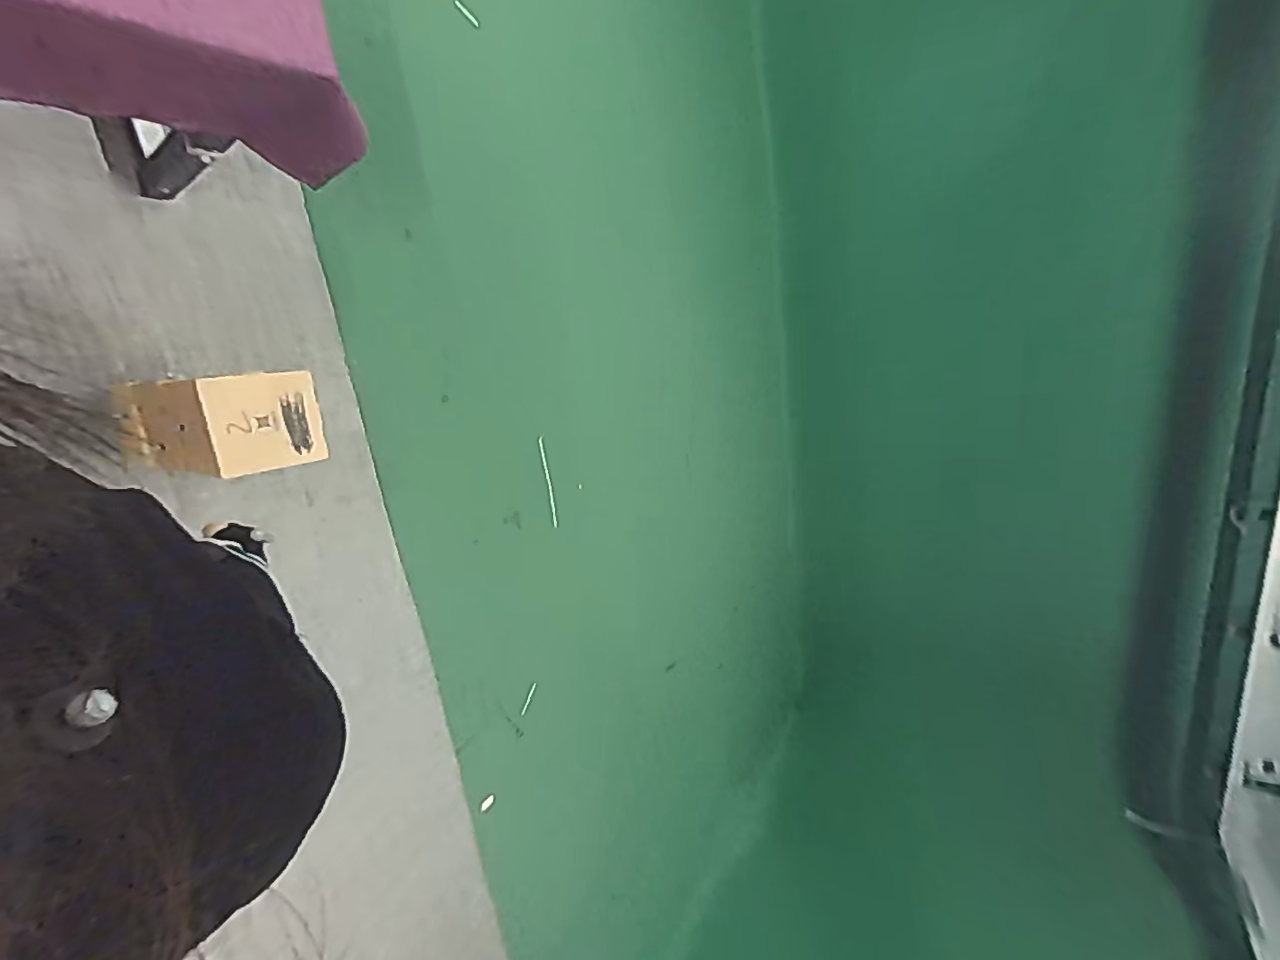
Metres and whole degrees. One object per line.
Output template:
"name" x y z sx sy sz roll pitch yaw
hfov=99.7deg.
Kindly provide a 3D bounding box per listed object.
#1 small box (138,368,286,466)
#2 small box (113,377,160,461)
"small box" -0.848 -0.127 1.070 0.179 0.176 0.168 -25 114 -52
"small box" -0.986 -0.134 1.158 0.179 0.176 0.168 -21 110 -52
